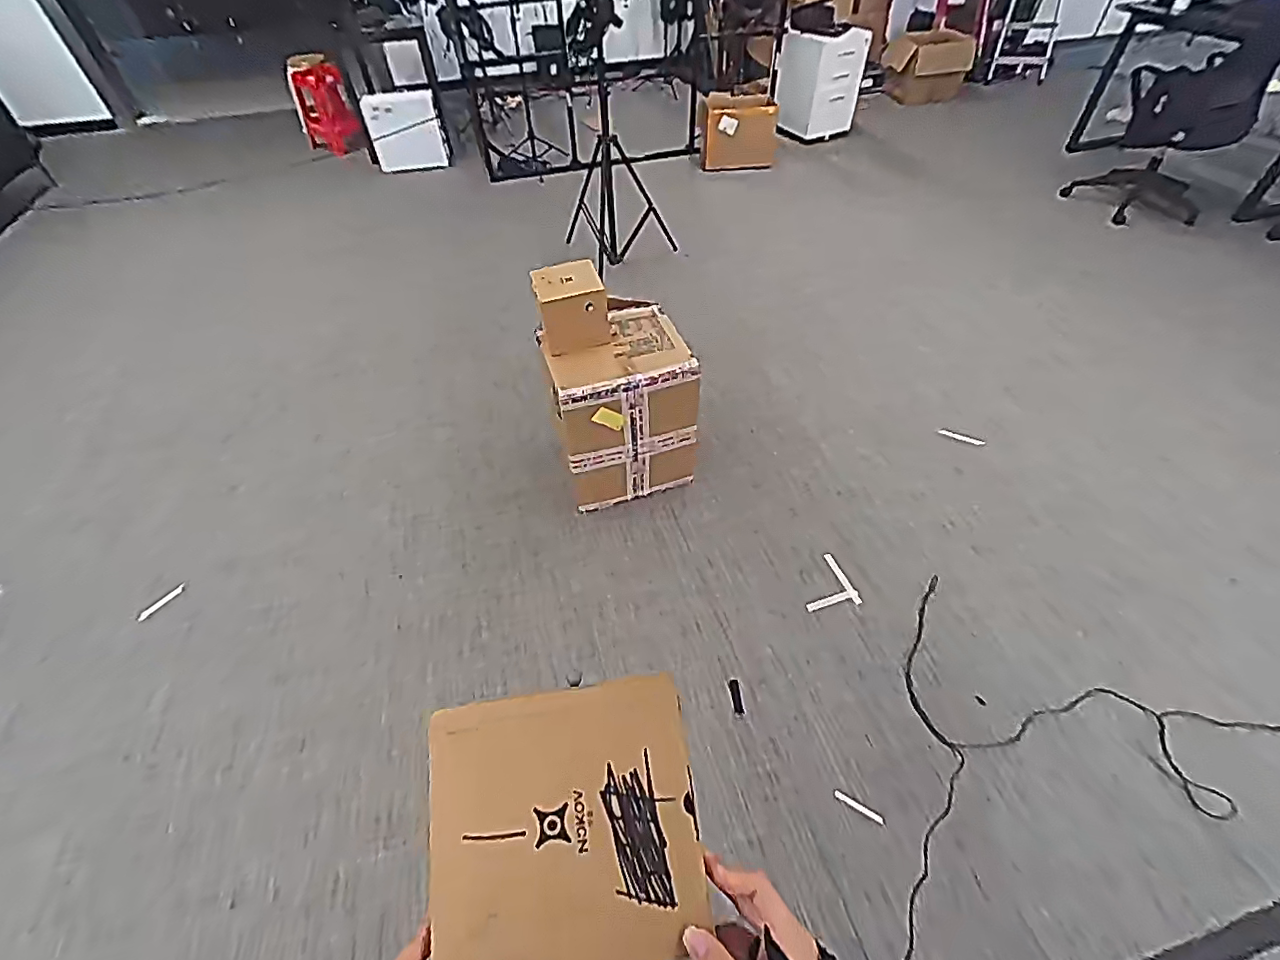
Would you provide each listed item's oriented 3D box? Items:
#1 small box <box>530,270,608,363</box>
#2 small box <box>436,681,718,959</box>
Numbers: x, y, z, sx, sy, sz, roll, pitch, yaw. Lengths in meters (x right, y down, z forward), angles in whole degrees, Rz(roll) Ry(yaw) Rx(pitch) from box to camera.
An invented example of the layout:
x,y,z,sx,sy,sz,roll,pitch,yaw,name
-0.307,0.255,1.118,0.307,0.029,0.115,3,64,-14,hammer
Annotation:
x,y,z,sx,sy,sz,roll,pitch,yaw,name
-0.192,-0.451,1.500,0.179,0.176,0.168,-16,50,-8,small box
-0.050,0.258,0.434,0.179,0.176,0.168,-7,70,-5,small box
